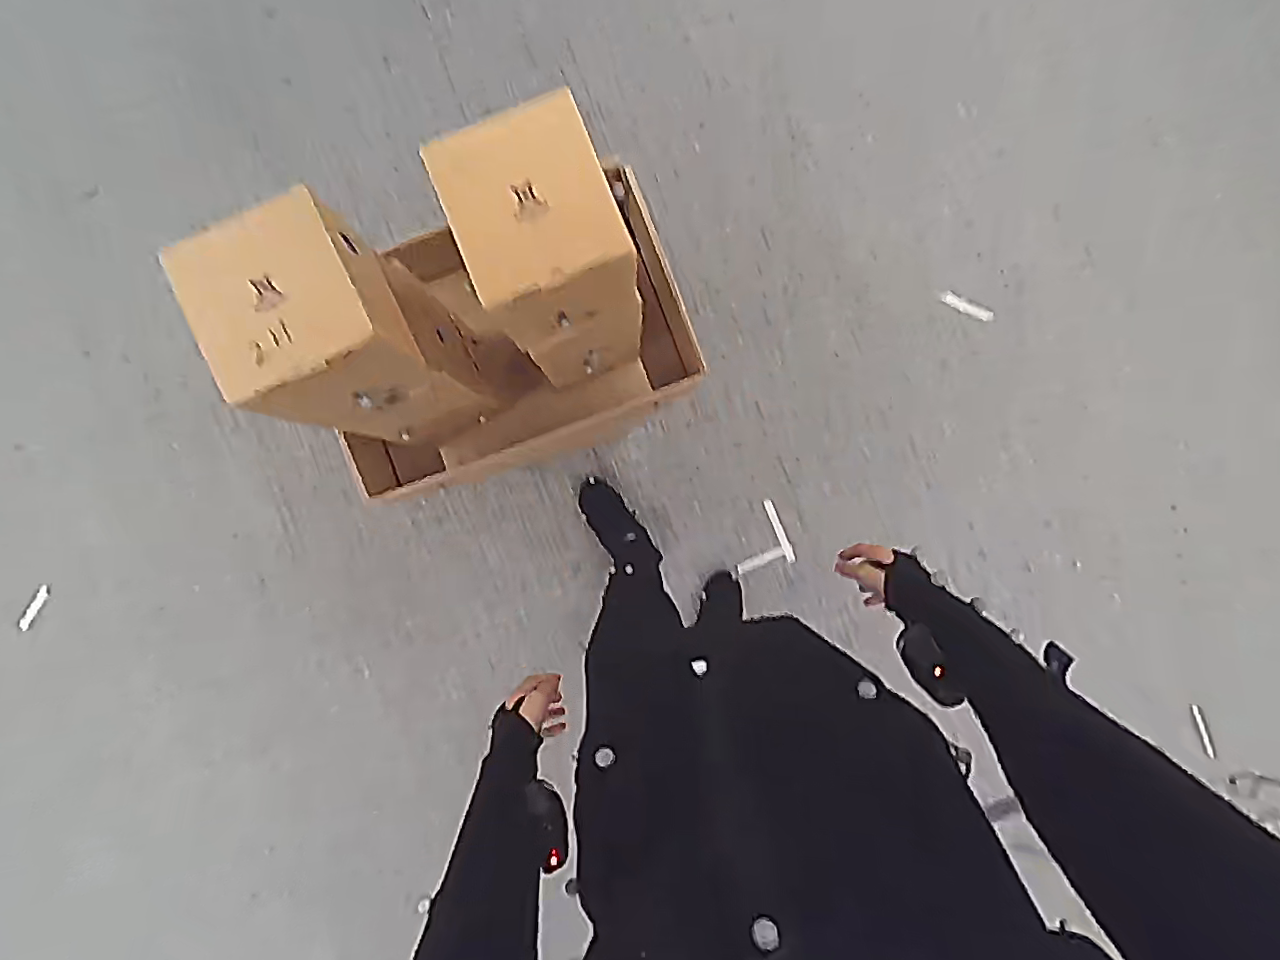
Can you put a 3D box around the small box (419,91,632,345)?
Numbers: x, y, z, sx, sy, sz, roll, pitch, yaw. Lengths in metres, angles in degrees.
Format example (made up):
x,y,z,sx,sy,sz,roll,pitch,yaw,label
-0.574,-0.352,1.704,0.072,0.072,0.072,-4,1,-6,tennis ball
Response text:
x,y,z,sx,sy,sz,roll,pitch,yaw,label
-0.116,-0.279,0.617,0.168,0.176,0.179,-23,91,0,small box

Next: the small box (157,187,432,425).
x,y,z,sx,sy,sz,roll,pitch,yaw,label
-0.372,-0.180,0.616,0.168,0.176,0.179,-27,88,-1,small box

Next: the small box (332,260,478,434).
x,y,z,sx,sy,sz,roll,pitch,yaw,label
-0.359,-0.176,0.782,0.168,0.176,0.179,-25,88,-1,small box
